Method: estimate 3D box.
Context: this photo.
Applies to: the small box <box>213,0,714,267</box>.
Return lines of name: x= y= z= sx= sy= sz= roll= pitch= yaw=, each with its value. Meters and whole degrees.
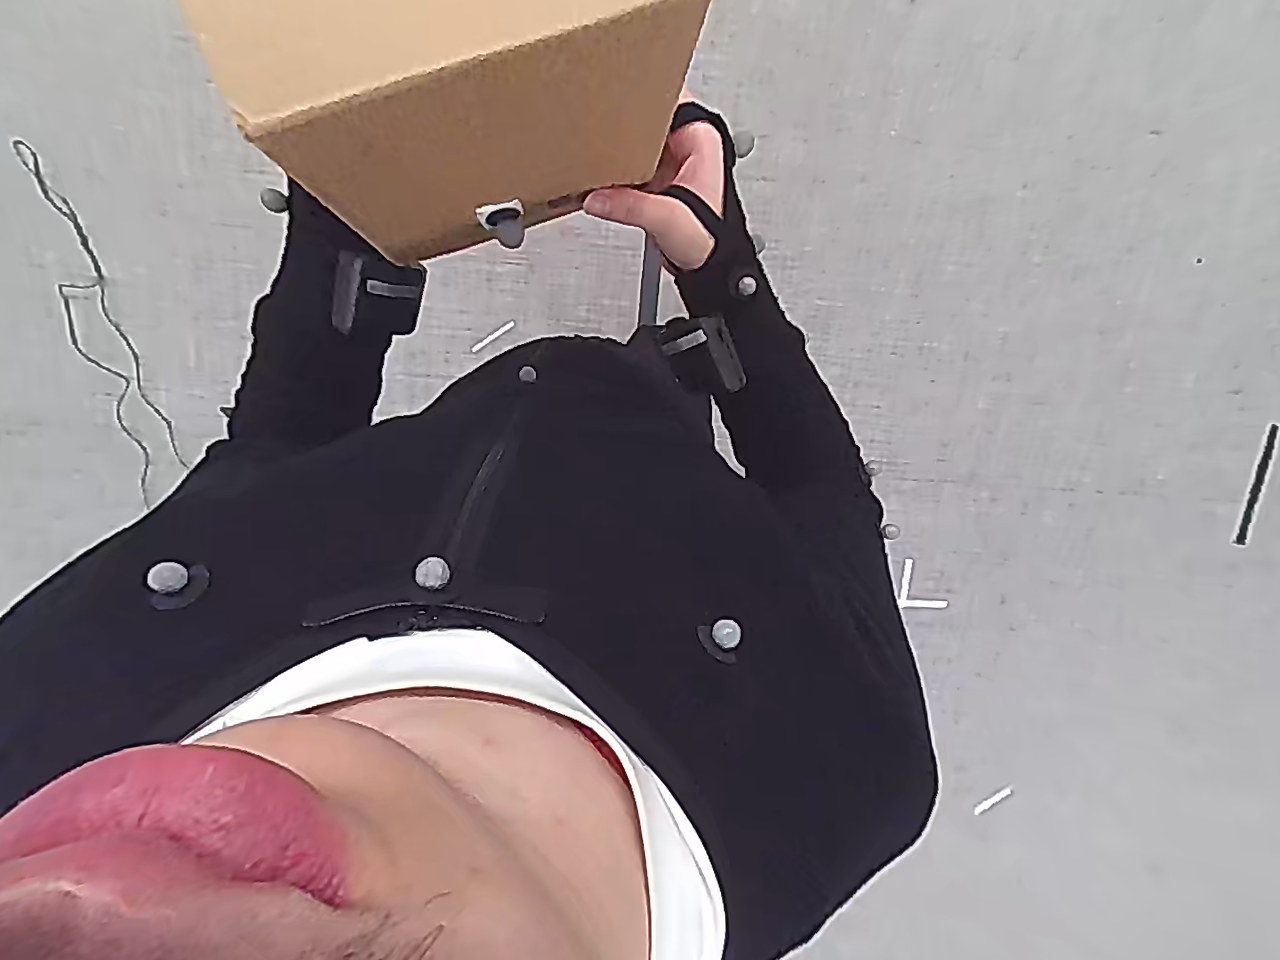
small box: x=-0.086 y=-0.230 z=0.256 sx=0.168 sy=0.176 sz=0.179 roll=-22 pitch=98 yaw=-3
